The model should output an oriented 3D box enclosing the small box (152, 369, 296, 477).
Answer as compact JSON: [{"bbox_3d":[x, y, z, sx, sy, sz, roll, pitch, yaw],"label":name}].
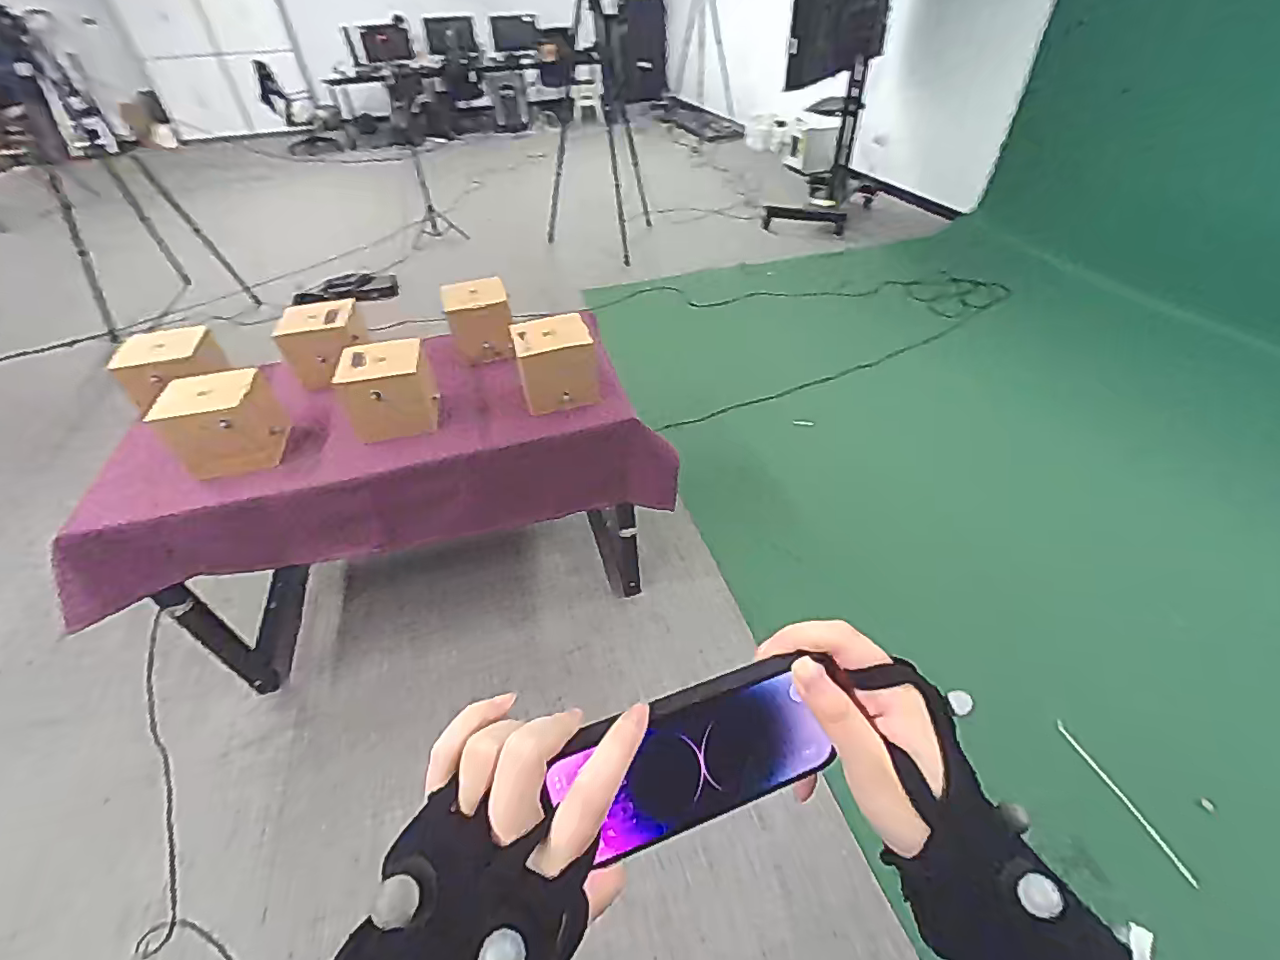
[{"bbox_3d":[-0.915,-0.125,1.209,0.179,0.176,0.168,-11,43,-10],"label":"small box"}]

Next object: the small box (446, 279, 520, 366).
[{"bbox_3d":[-0.438,-0.444,1.524,0.168,0.176,0.179,-15,44,-12],"label":"small box"}]

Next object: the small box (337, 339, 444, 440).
[{"bbox_3d":[-0.580,-0.211,1.281,0.179,0.176,0.168,-10,43,-8],"label":"small box"}]

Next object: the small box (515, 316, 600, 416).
[{"bbox_3d":[-0.200,-0.281,1.335,0.179,0.176,0.168,-13,43,-11],"label":"small box"}]
